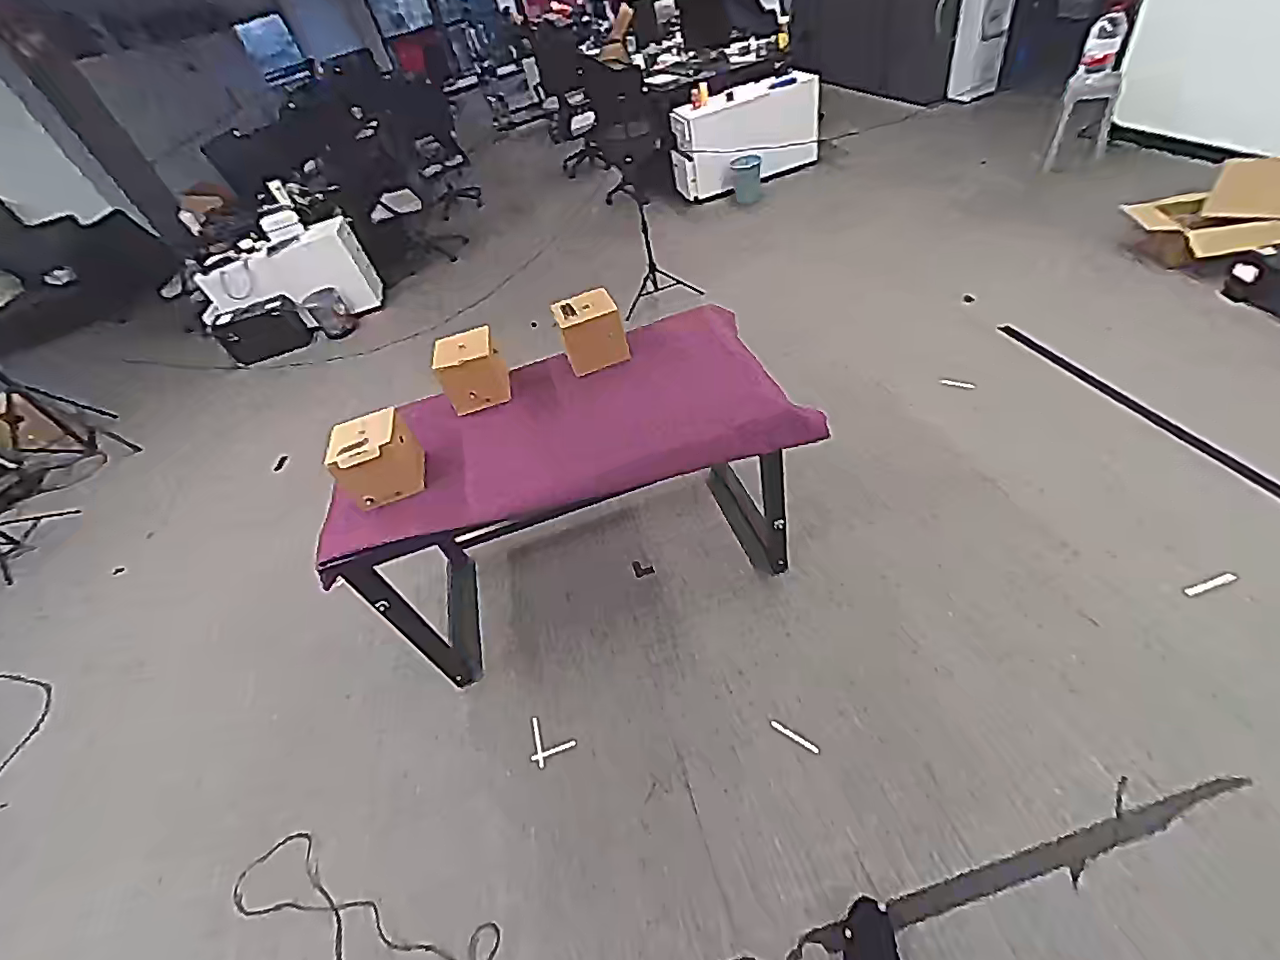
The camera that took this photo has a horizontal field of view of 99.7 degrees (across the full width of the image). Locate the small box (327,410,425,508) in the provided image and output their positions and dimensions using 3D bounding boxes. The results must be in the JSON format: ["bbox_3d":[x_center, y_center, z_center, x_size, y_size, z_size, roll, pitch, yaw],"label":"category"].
[{"bbox_3d":[-0.678,-0.048,1.409,0.168,0.176,0.179,-20,43,-4],"label":"small box"}]

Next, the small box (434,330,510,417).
[{"bbox_3d":[-0.498,-0.319,1.621,0.168,0.176,0.179,-17,44,-1],"label":"small box"}]
